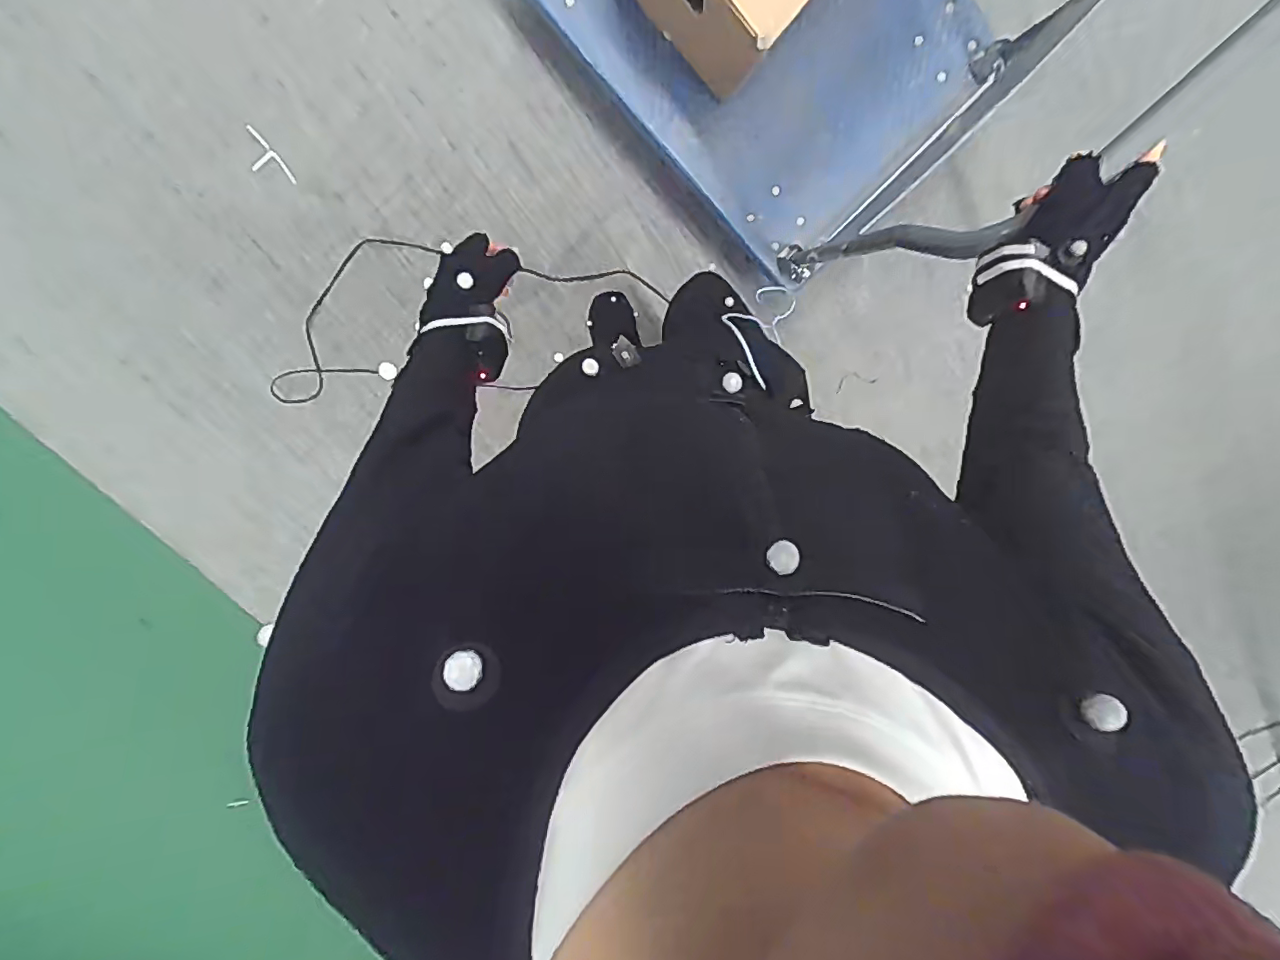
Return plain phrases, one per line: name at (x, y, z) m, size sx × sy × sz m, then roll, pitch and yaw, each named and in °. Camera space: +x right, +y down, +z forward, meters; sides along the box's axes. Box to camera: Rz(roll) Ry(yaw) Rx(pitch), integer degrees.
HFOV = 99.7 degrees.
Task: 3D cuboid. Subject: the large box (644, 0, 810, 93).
large box at (0.194, -0.908, 0.809) m, size 0.320 × 0.320 × 0.408 m, roll 38°, pitch 107°, yaw -16°
